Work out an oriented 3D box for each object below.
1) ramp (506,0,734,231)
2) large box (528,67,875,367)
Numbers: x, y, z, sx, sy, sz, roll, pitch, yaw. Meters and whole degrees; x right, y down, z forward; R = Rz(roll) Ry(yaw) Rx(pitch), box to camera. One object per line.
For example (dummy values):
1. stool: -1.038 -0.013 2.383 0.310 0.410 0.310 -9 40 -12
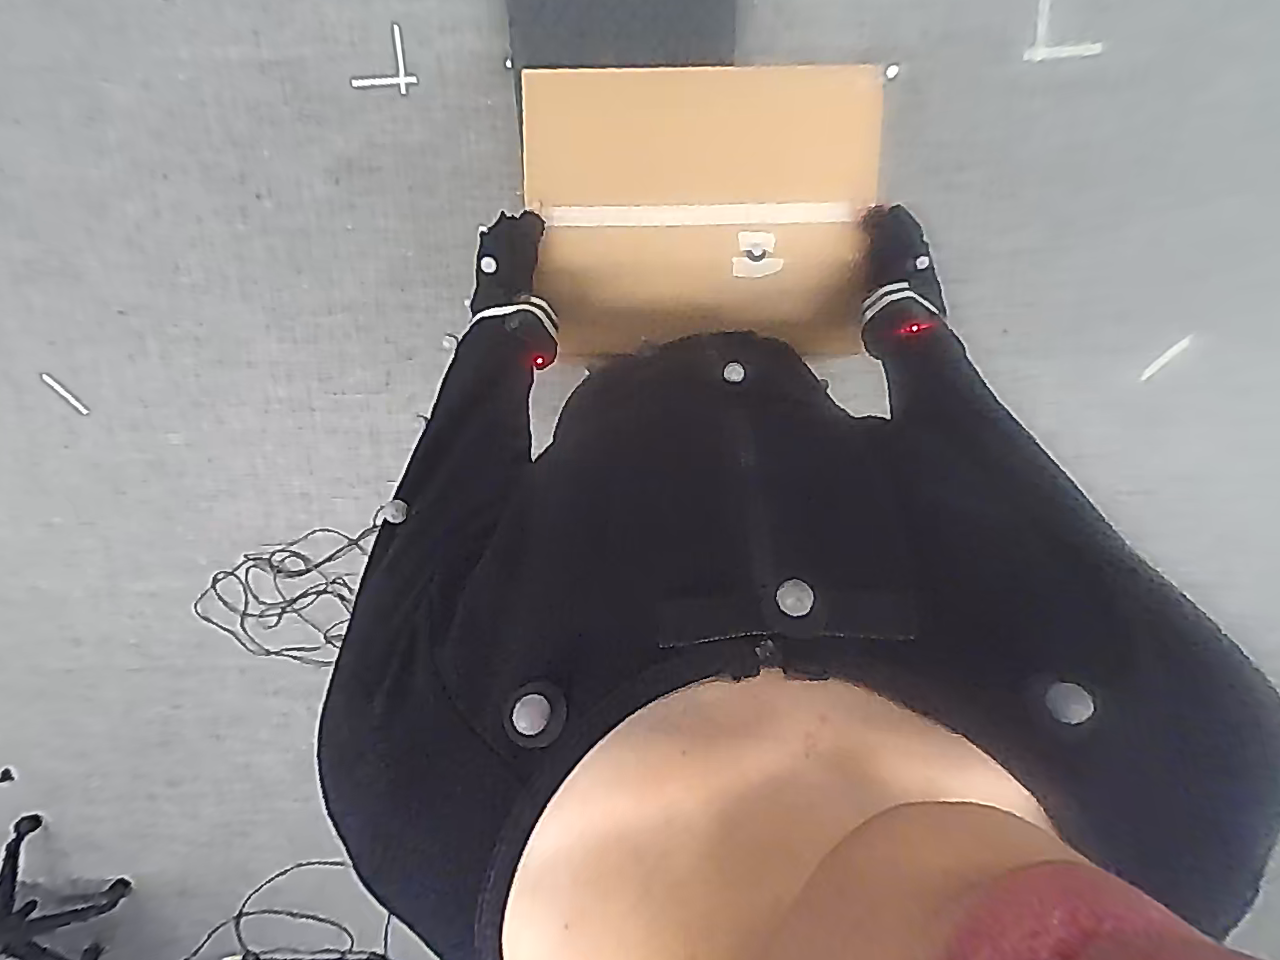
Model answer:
1. ramp: -0.043 -1.075 1.134 0.509 0.206 0.991 -4 105 1
2. large box: 0.073 -0.335 0.784 0.408 0.320 0.320 0 99 1
